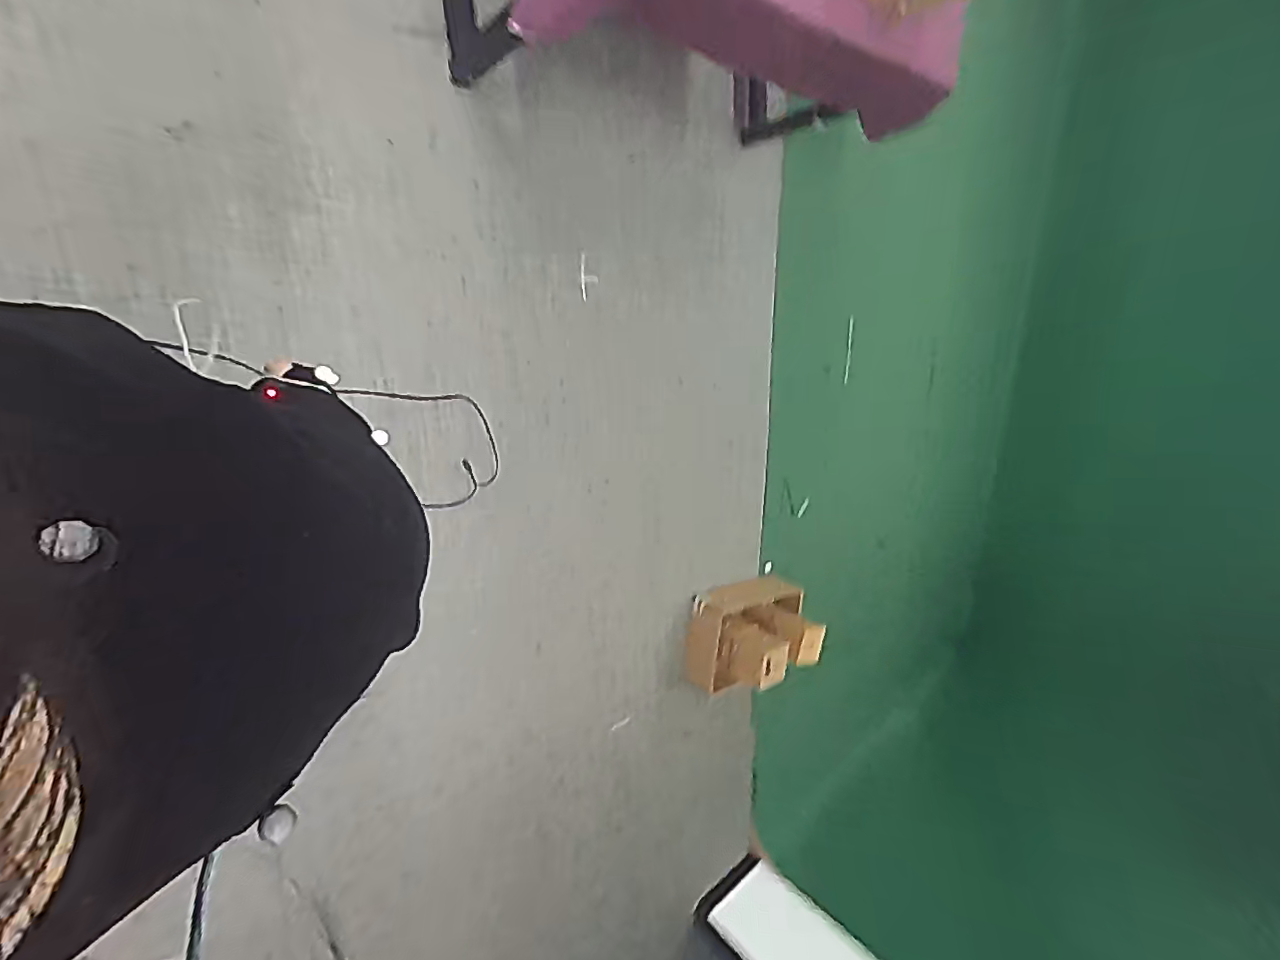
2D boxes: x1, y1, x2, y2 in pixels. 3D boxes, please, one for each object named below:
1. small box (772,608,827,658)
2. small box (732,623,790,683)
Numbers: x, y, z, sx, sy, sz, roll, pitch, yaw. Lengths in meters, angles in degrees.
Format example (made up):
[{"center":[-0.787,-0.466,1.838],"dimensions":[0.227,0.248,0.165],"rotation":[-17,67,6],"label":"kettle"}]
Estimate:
[{"center":[0.720,0.692,2.468],"dimensions":[0.179,0.176,0.168],"rotation":[9,95,-40],"label":"small box"},{"center":[0.511,0.731,2.298],"dimensions":[0.179,0.176,0.168],"rotation":[-5,104,-41],"label":"small box"}]
